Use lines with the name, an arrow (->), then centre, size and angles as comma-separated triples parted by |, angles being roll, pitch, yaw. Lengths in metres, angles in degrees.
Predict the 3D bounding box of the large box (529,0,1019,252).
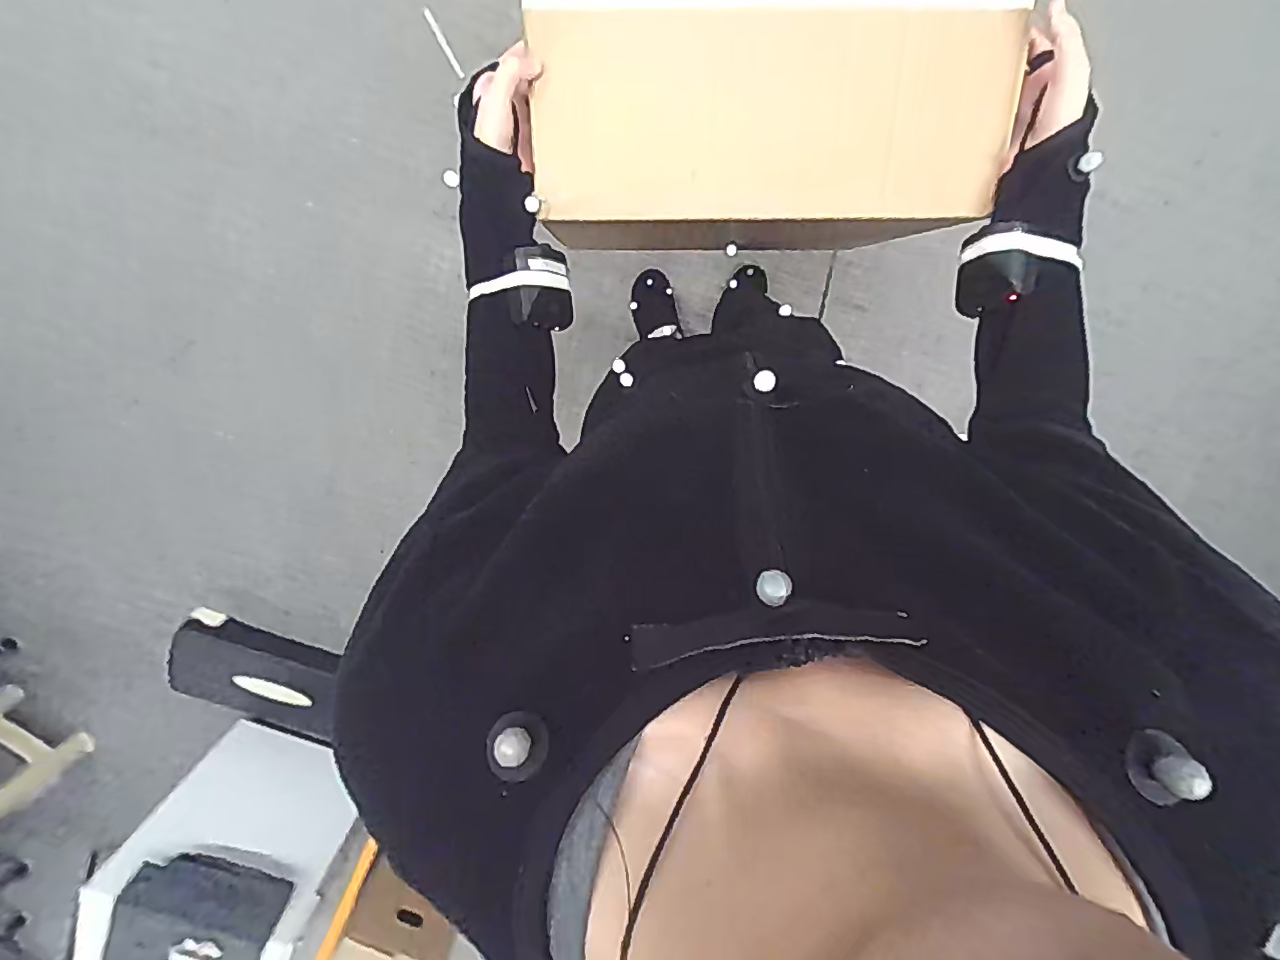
large box -> 0.108, -0.423, 0.579 | 0.408, 0.320, 0.320 | -1, 107, -1
